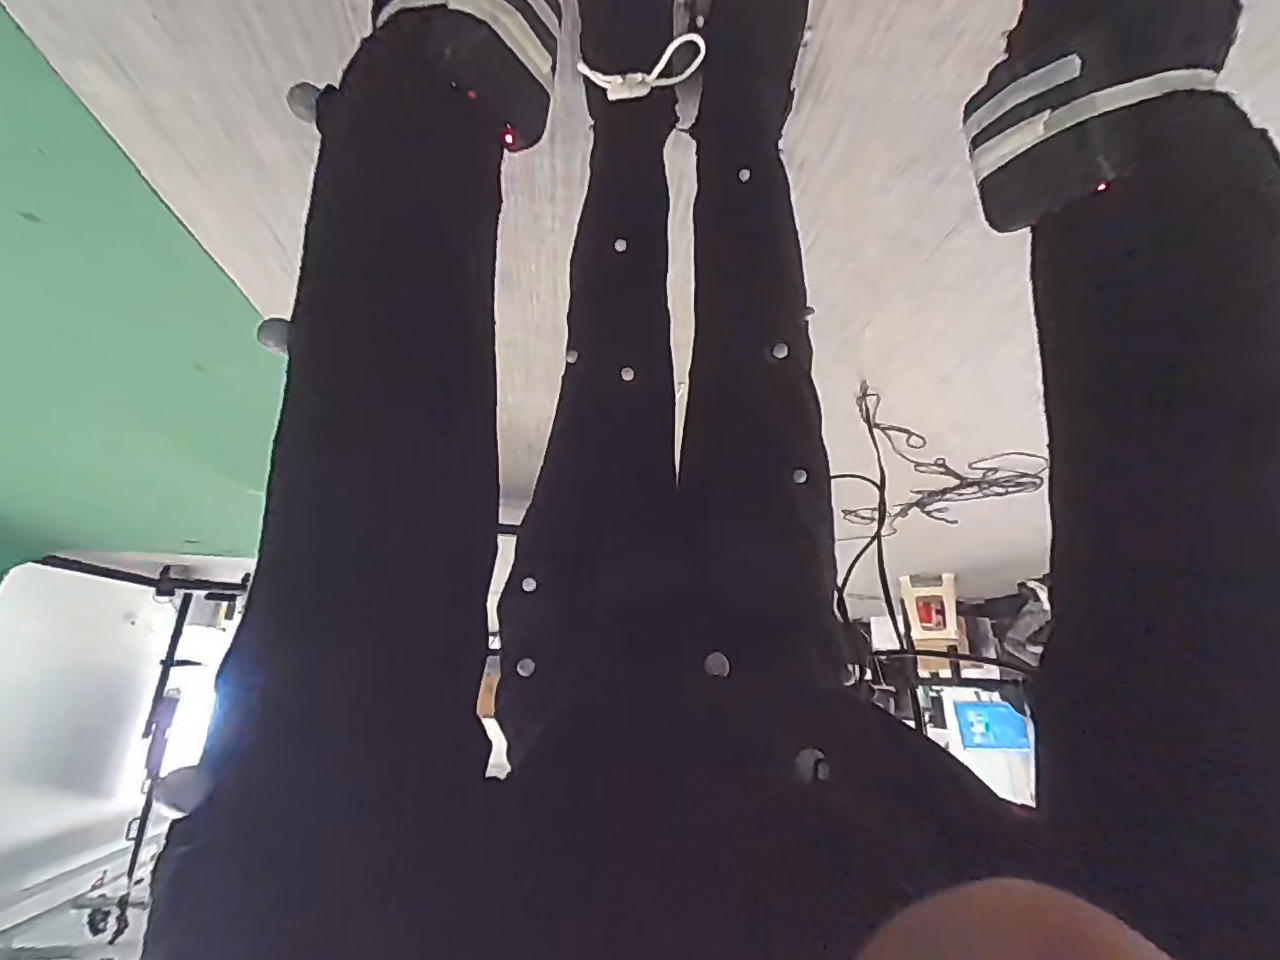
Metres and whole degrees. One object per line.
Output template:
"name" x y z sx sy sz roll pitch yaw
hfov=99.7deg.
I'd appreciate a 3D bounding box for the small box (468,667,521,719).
"small box" -0.523 0.769 1.956 0.168 0.176 0.179 4 160 -9
